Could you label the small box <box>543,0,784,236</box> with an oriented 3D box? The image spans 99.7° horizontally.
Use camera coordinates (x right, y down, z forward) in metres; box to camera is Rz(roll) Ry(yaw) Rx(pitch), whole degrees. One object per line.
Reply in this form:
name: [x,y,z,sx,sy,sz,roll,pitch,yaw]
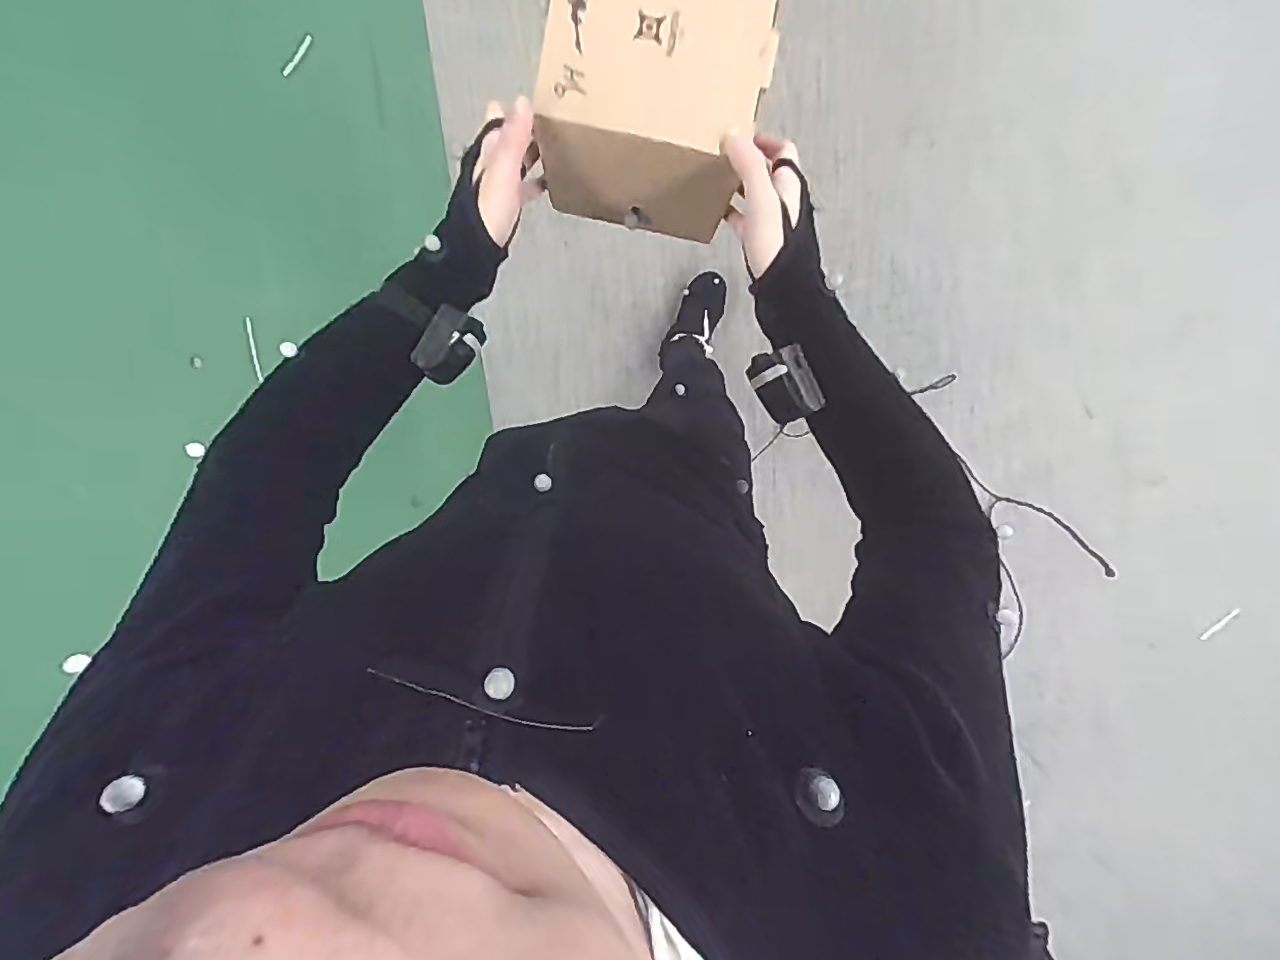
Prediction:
small box: [0.015,-0.355,0.512,0.179,0.176,0.168,10,91,-5]
